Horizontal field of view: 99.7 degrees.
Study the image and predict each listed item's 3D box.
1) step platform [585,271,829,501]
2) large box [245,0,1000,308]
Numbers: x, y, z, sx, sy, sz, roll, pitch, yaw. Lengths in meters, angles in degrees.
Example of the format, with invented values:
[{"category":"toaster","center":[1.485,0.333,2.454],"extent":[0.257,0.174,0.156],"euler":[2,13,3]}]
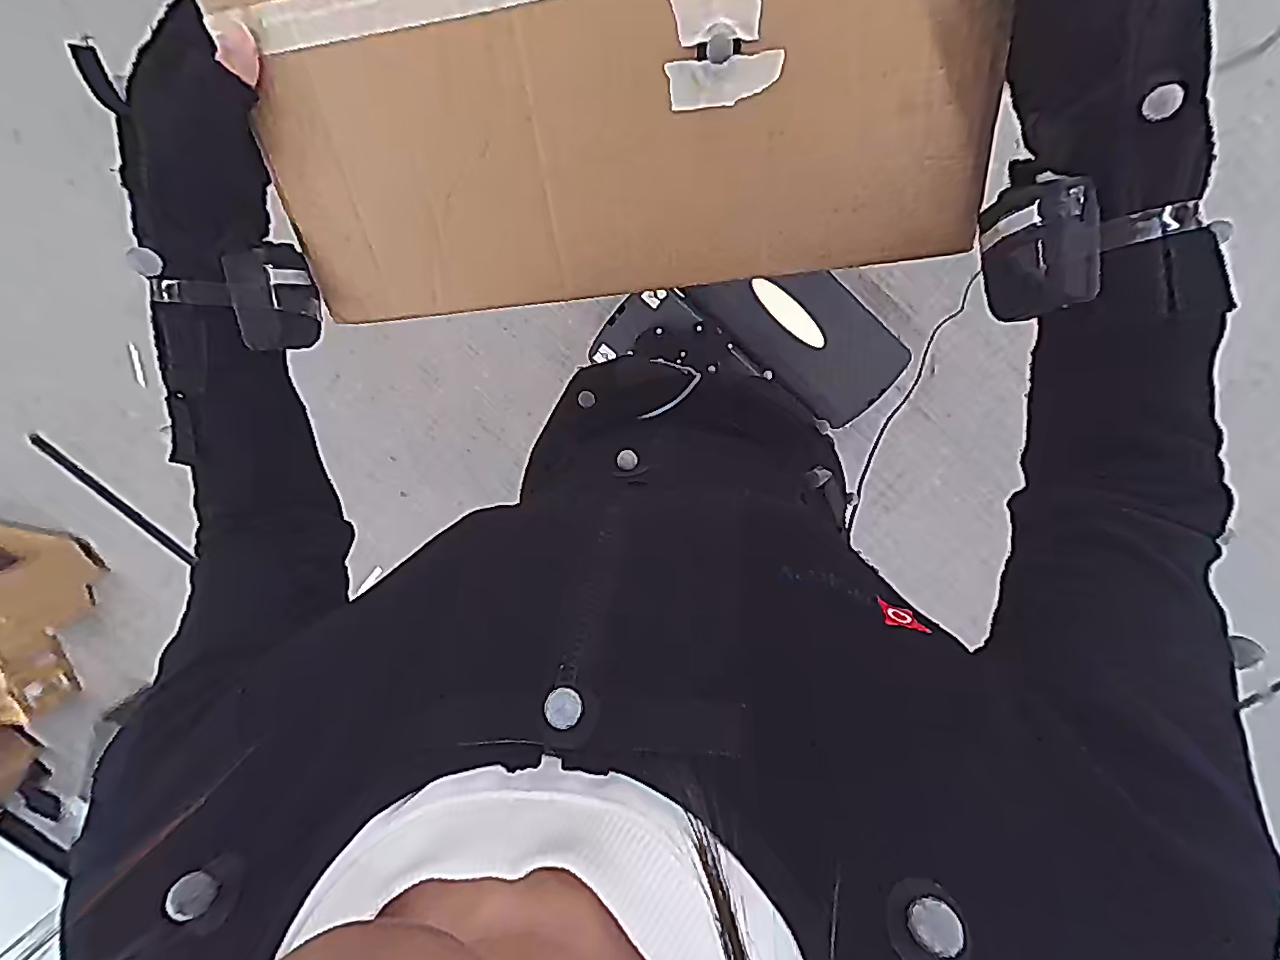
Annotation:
[{"category":"step platform","center":[0.181,-0.253,1.472],"extent":[0.684,0.204,0.286],"euler":[41,108,-4]},{"category":"large box","center":[-0.009,-0.340,0.402],"extent":[0.408,0.320,0.320],"euler":[-3,121,8]}]
